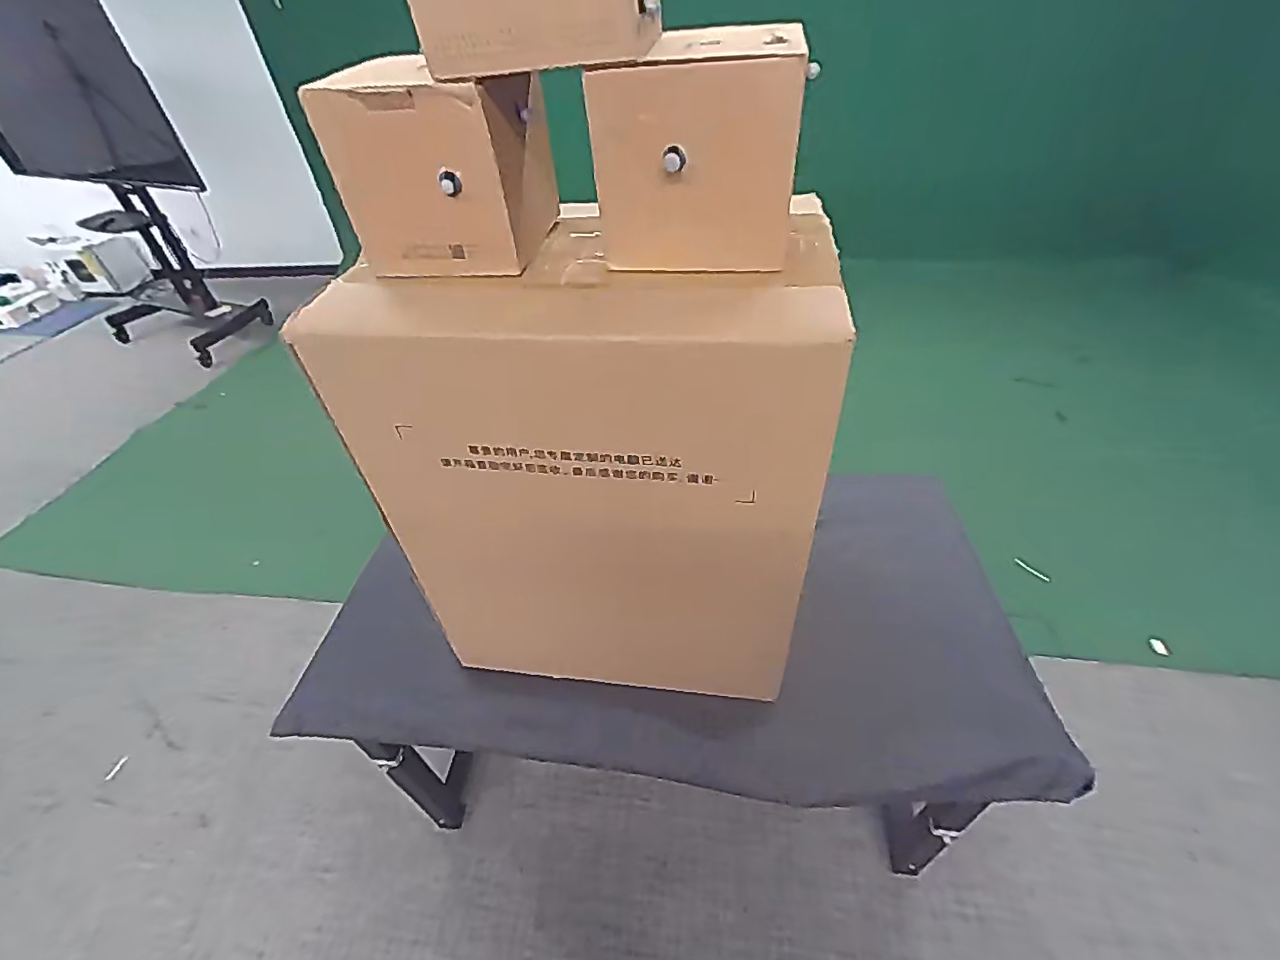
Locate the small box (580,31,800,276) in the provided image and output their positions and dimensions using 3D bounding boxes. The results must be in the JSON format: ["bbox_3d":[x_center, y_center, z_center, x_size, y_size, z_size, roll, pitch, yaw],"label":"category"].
[{"bbox_3d":[0.057,-0.313,0.528,0.179,0.176,0.168,3,46,11],"label":"small box"}]

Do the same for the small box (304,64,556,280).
[{"bbox_3d":[-0.196,-0.324,0.570,0.168,0.176,0.179,4,44,8],"label":"small box"}]

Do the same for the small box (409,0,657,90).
[{"bbox_3d":[-0.084,-0.435,0.434,0.179,0.176,0.168,1,45,10],"label":"small box"}]
